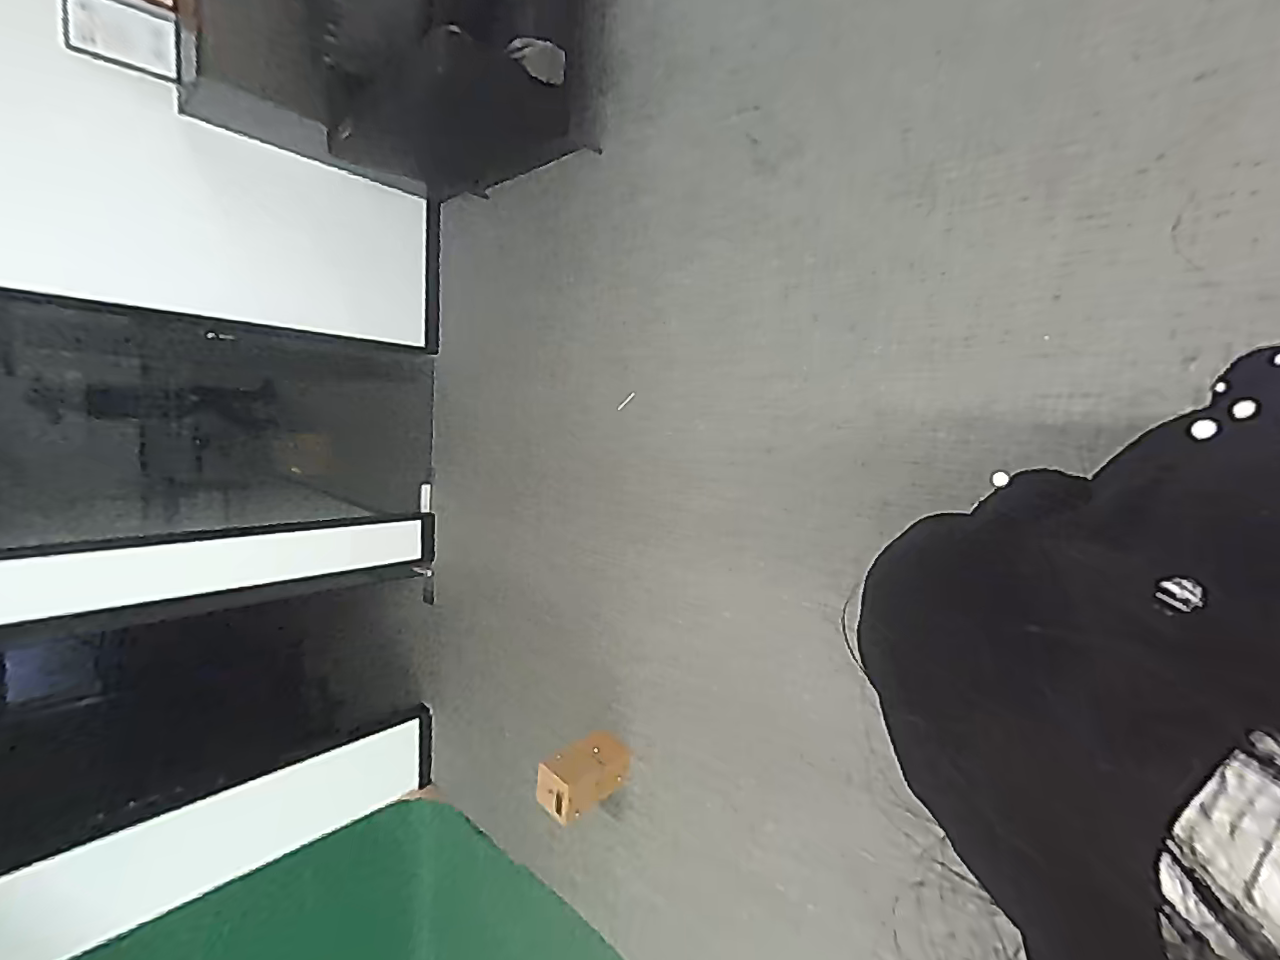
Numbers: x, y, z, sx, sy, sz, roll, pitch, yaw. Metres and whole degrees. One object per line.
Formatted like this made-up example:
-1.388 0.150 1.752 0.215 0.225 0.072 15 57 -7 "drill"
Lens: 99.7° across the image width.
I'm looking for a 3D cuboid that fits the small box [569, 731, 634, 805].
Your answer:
-0.151 1.130 2.145 0.179 0.176 0.168 23 107 38 "small box"
